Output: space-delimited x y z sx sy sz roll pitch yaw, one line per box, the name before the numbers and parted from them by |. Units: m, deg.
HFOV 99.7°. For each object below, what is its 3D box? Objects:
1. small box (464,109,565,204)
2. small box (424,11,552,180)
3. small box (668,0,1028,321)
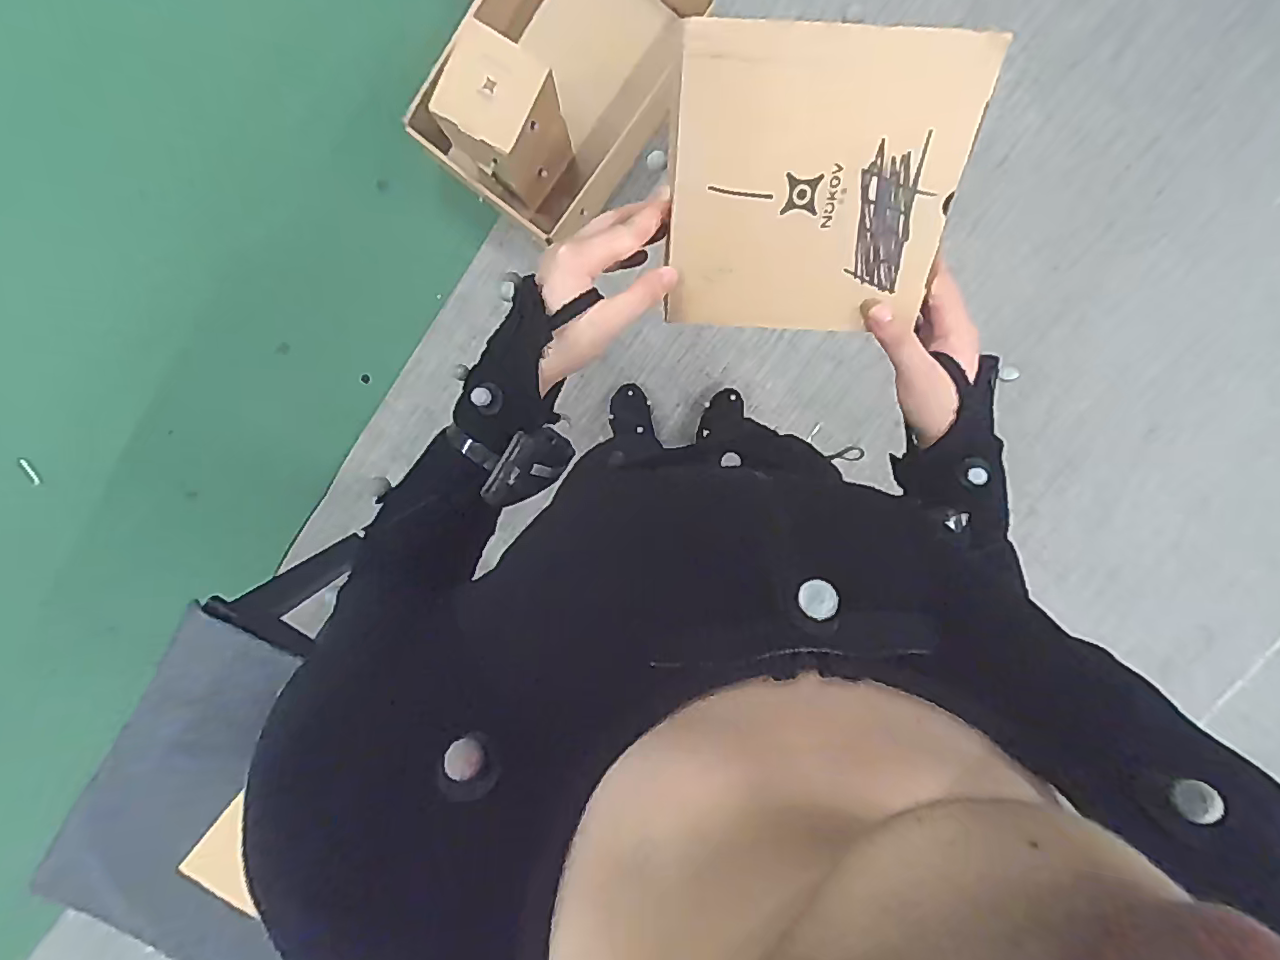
small box | -0.283 -0.756 1.203 0.168 0.176 0.179 38 98 -8
small box | -0.281 -0.721 1.043 0.168 0.176 0.179 27 97 -8
small box | 0.116 -0.225 0.392 0.179 0.176 0.168 3 124 -1
